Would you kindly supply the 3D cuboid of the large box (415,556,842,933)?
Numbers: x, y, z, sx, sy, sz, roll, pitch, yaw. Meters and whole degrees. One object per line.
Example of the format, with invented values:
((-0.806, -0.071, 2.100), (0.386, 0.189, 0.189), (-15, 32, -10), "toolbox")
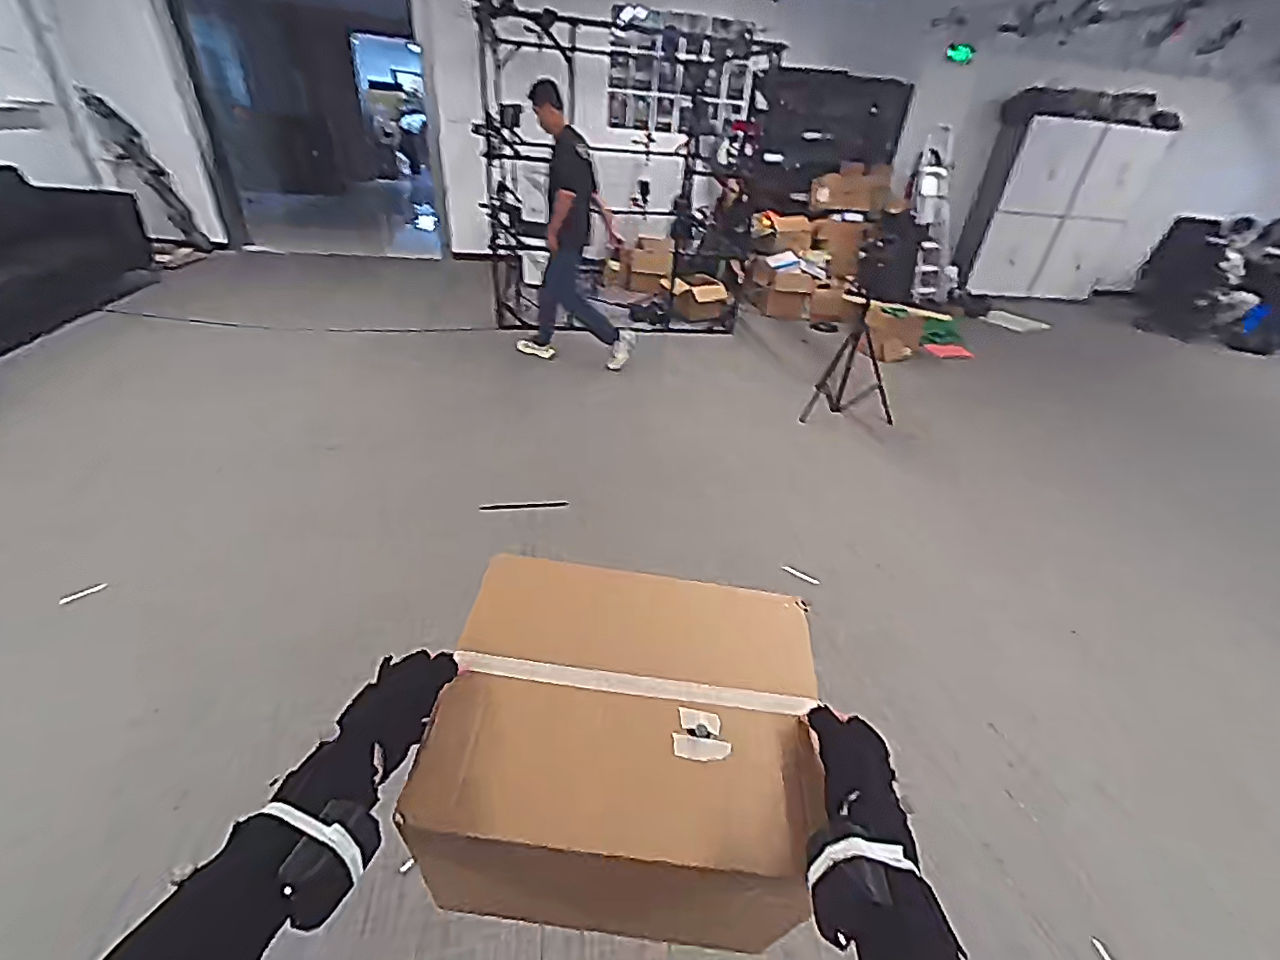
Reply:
((-0.018, 0.336, 0.697), (0.408, 0.320, 0.320), (9, 41, -1), "large box")
